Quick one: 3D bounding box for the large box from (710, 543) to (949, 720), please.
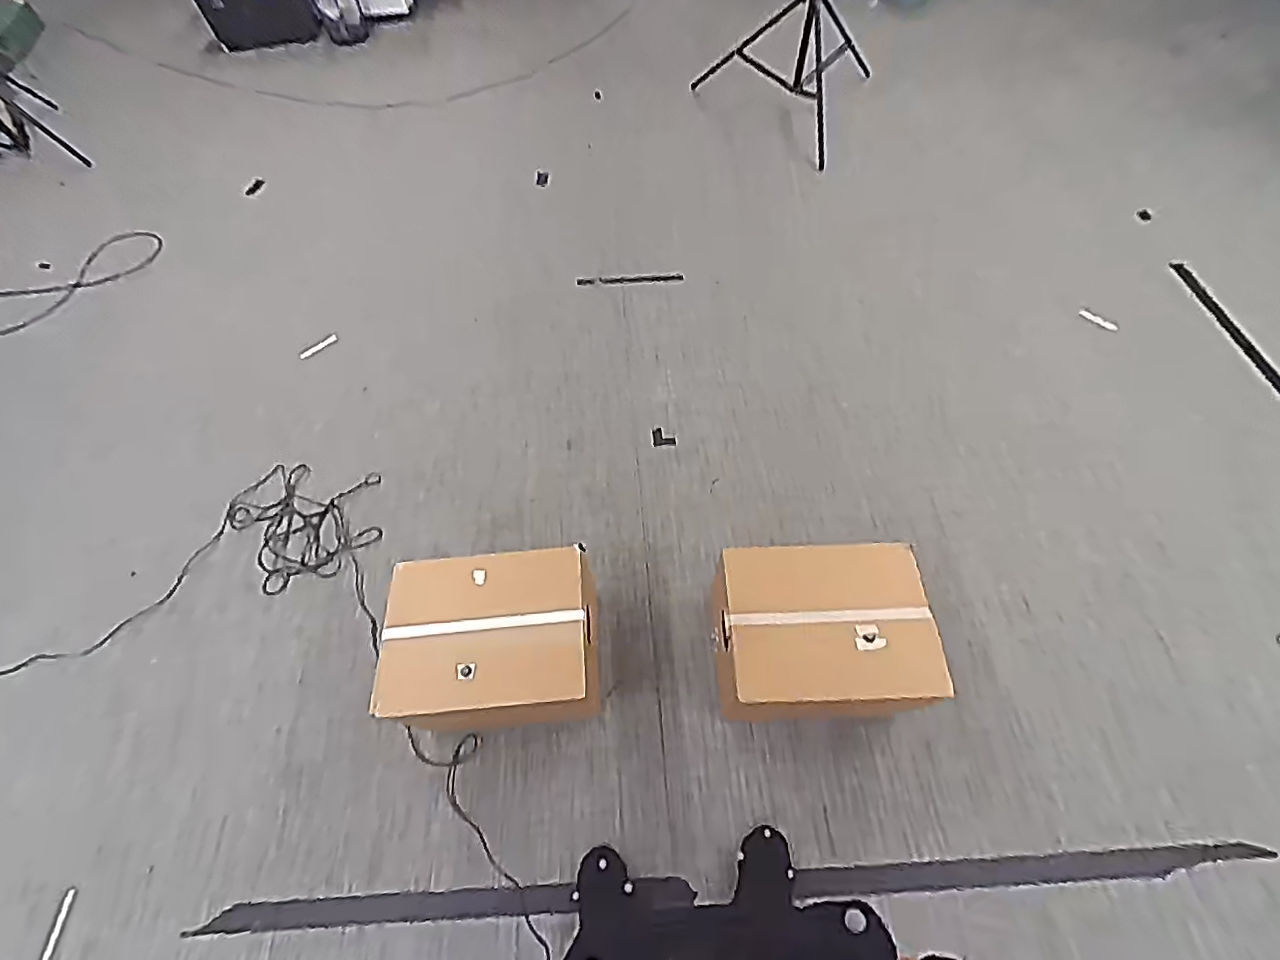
[{"bbox_3d":[0.385,0.350,1.221,0.408,0.320,0.320,-1,60,0],"label":"large box"}]
